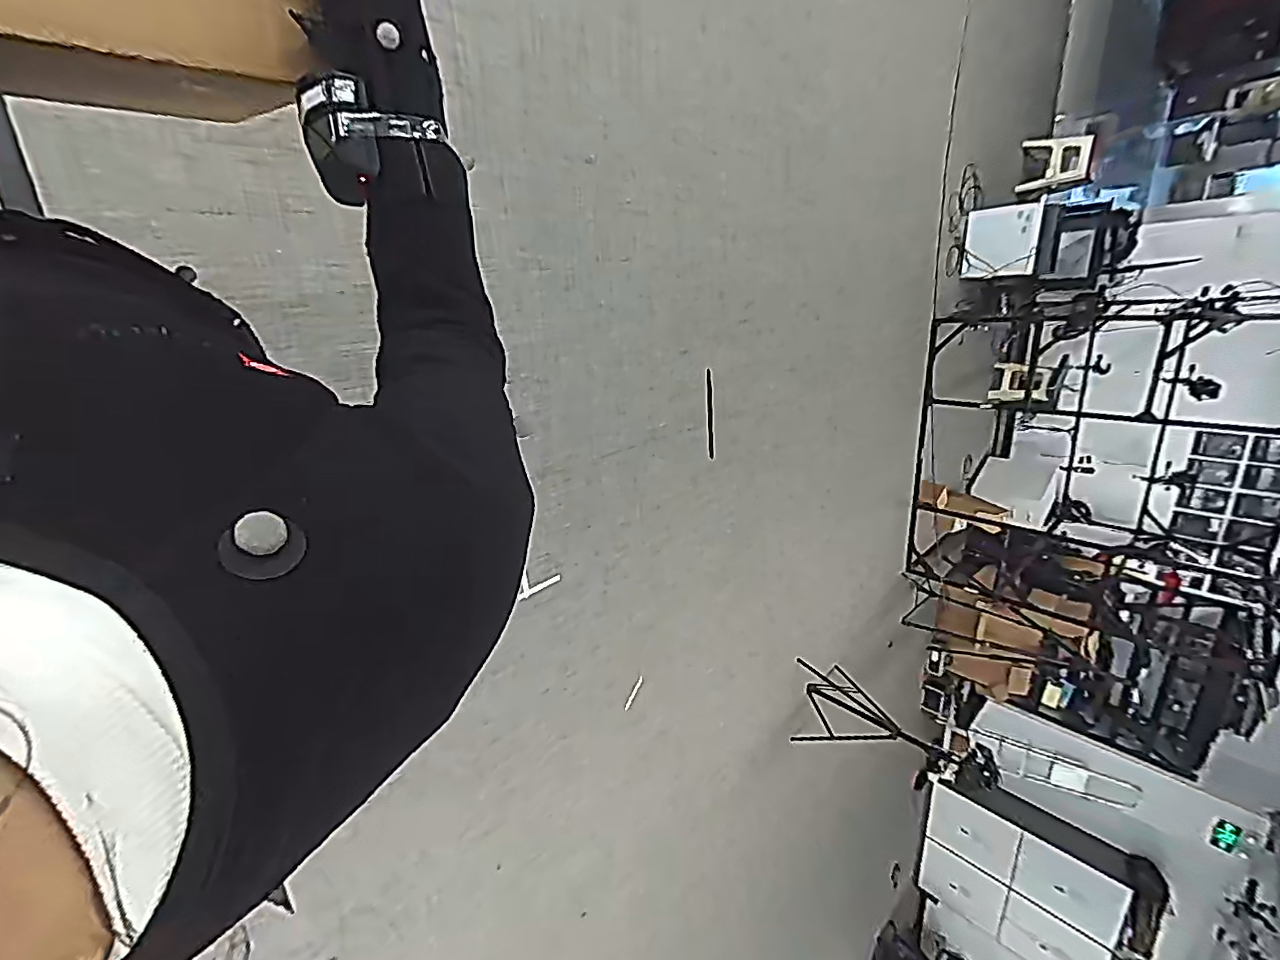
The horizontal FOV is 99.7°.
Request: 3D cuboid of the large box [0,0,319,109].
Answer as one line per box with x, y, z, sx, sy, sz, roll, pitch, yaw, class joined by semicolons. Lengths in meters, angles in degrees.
-0.456;-0.404;0.267;0.408;0.320;0.320;-21;127;-40;large box
